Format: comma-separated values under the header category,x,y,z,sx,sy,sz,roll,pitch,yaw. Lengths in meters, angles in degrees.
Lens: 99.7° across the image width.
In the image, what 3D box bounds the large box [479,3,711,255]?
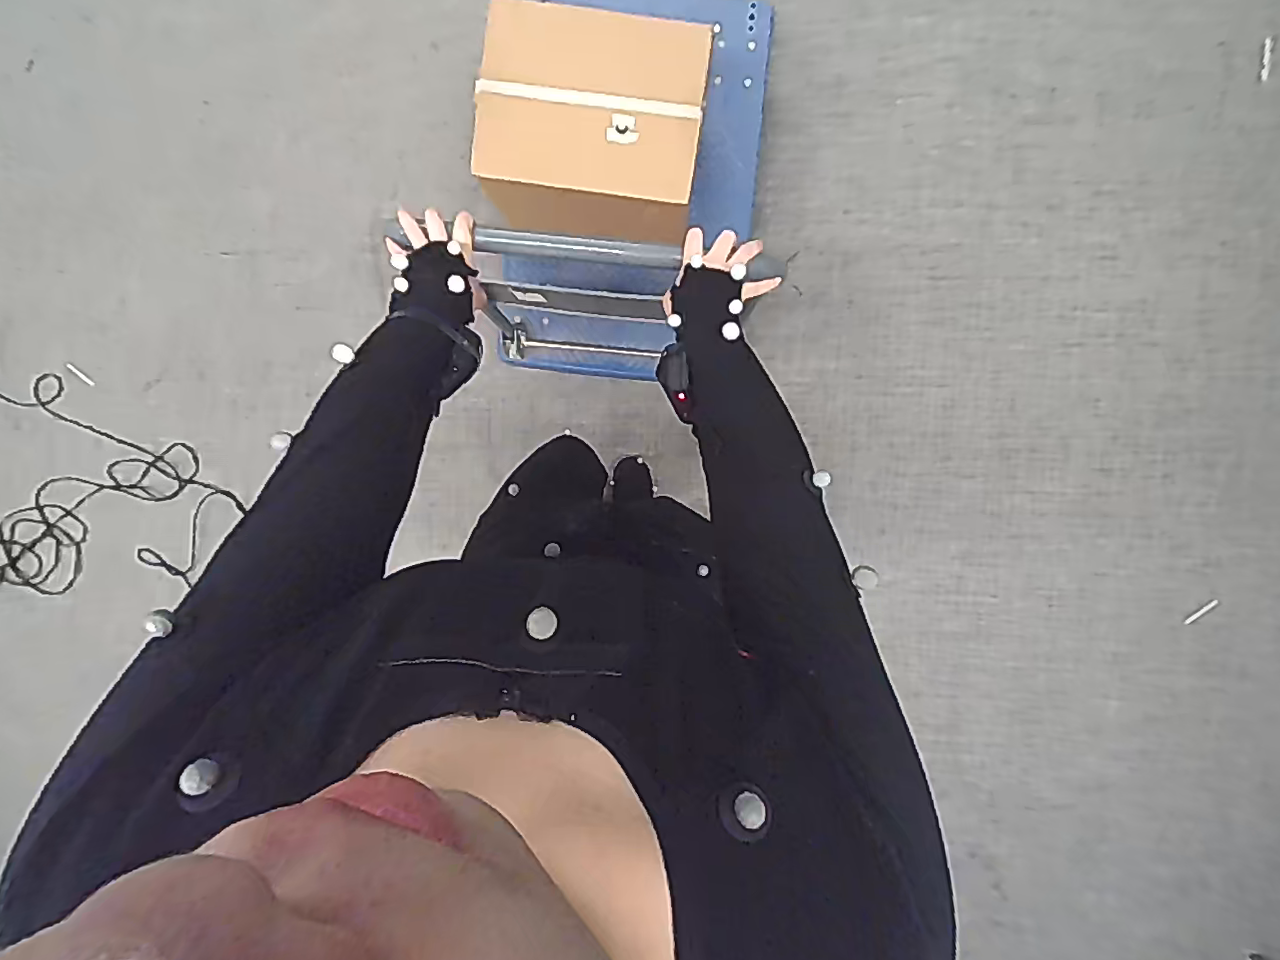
category,x,y,z,sx,sy,sz,roll,pitch,yaw
large box,-0.085,-0.701,1.136,0.408,0.320,0.320,8,94,0
